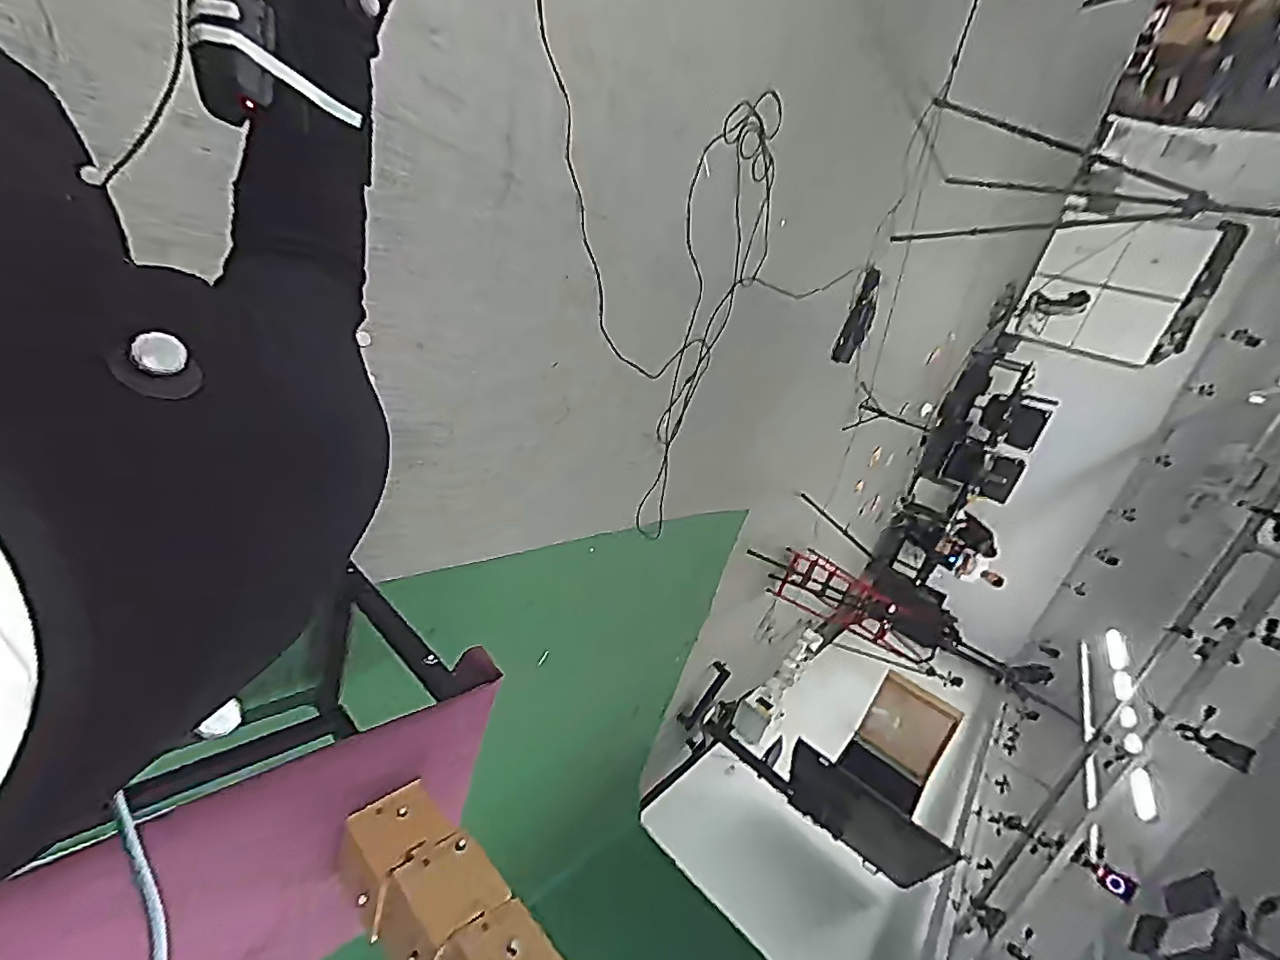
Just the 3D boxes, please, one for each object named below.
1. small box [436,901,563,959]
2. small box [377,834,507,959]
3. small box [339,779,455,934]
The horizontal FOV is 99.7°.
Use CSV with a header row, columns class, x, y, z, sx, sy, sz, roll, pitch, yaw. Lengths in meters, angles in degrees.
class,x,y,z,sx,sy,sz,roll,pitch,yaw
small box,-0.279,0.922,0.986,0.168,0.176,0.179,27,91,-56
small box,-0.397,0.851,1.075,0.168,0.176,0.179,-2,116,-52
small box,-0.526,0.797,1.163,0.168,0.176,0.179,-8,121,-50
